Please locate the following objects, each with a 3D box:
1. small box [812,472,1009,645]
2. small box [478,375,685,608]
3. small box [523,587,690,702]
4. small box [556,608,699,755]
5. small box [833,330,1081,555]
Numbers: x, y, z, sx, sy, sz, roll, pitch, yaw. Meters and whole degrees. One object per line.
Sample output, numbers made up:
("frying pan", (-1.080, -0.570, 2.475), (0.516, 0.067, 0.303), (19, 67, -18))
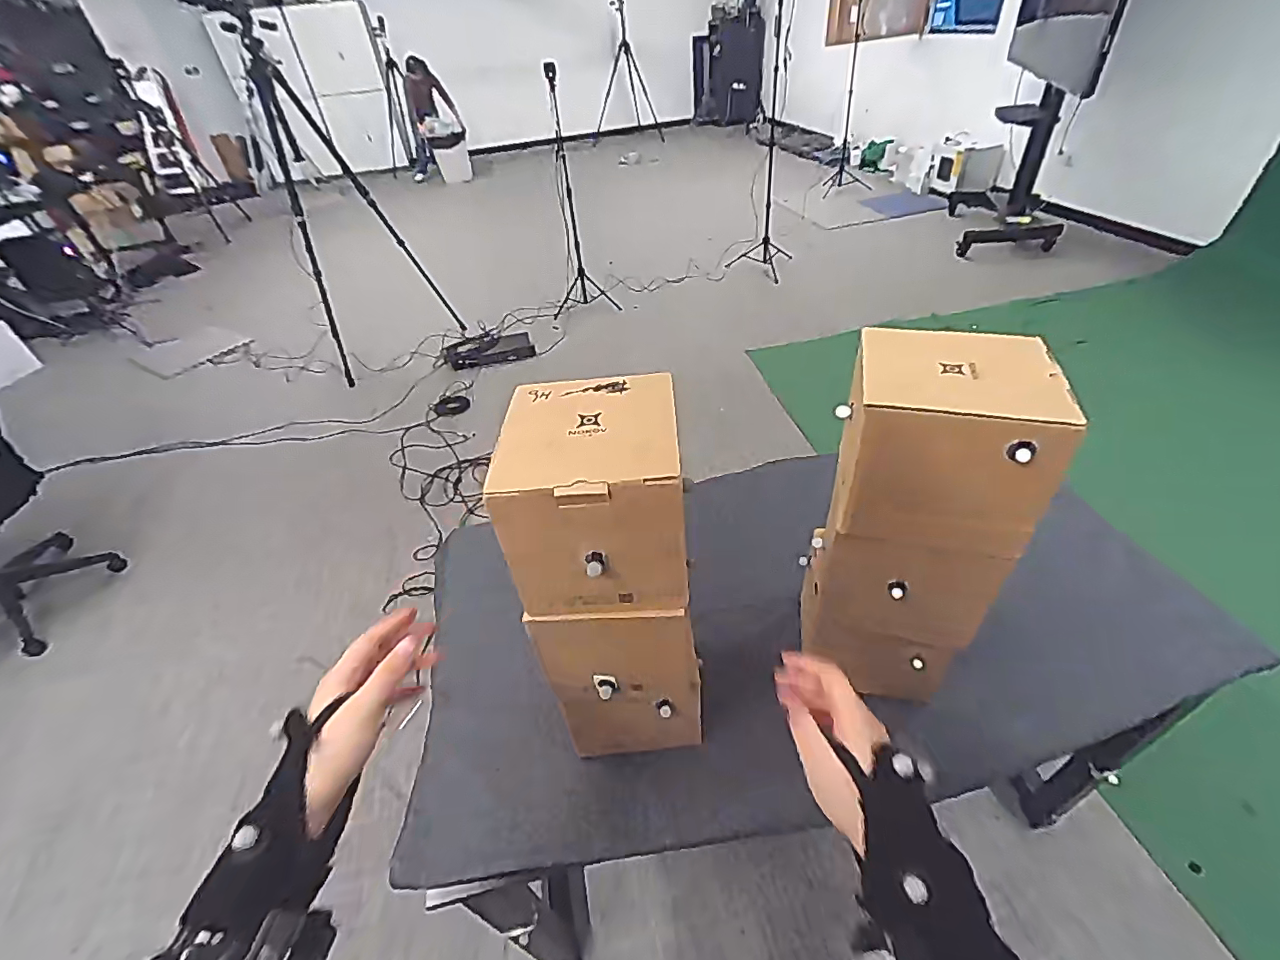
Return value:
("small box", (0.322, 0.081, 0.674), (0.179, 0.176, 0.168), (9, 42, 17))
("small box", (-0.044, 0.016, 0.549), (0.168, 0.176, 0.179), (-4, 42, 4))
("small box", (-0.028, 0.143, 0.651), (0.168, 0.176, 0.179), (-4, 42, 5))
("small box", (-0.014, 0.263, 0.760), (0.179, 0.176, 0.168), (-7, 40, 0))
("small box", (0.306, -0.042, 0.568), (0.179, 0.176, 0.168), (8, 42, 15))
